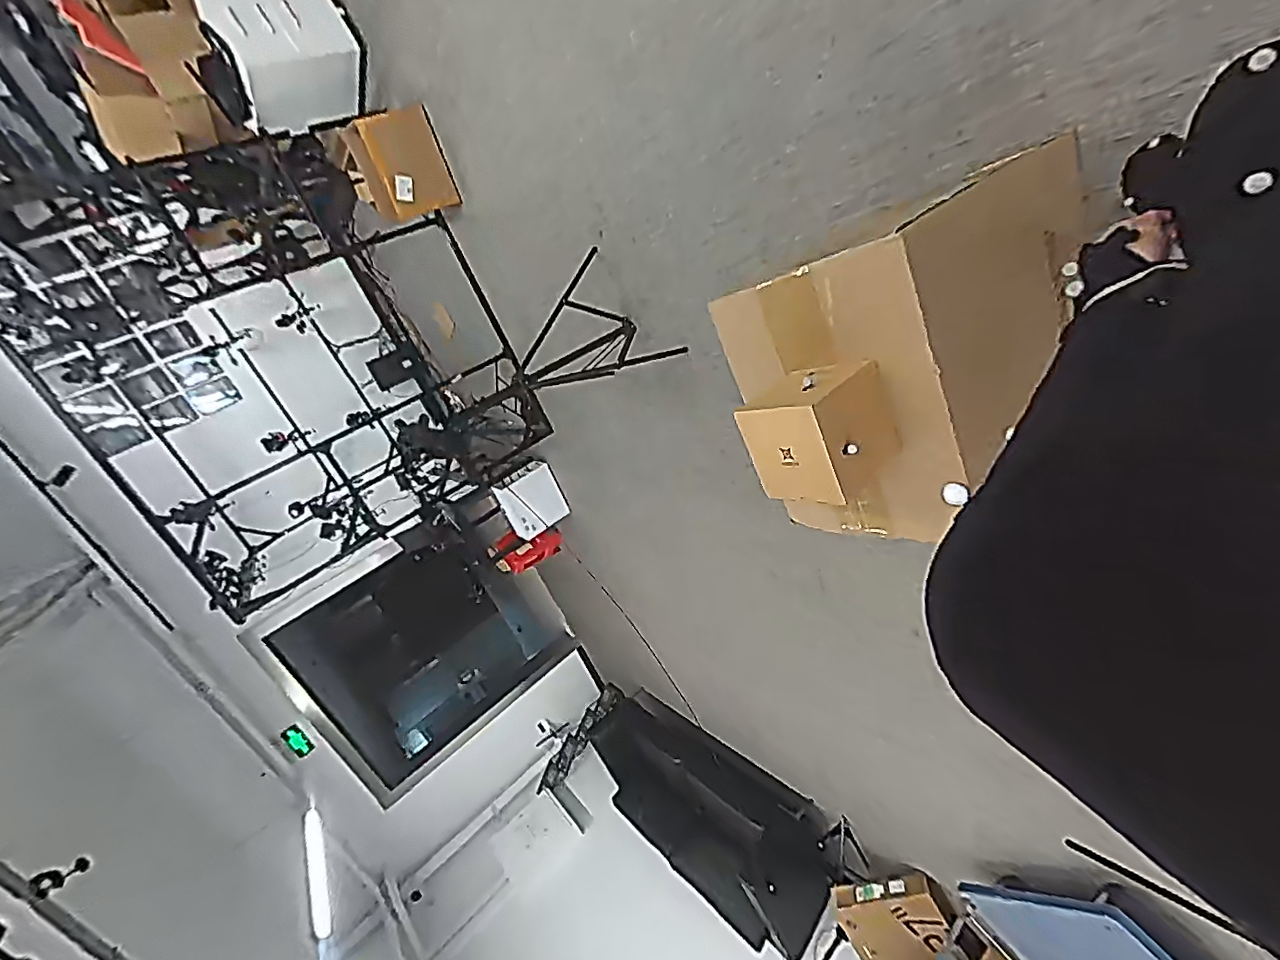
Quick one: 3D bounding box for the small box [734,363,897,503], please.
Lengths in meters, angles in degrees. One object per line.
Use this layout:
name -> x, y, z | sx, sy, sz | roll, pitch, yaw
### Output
small box -> 0.294, -0.082, 0.899 | 0.168, 0.176, 0.179 | 4, 125, 57
